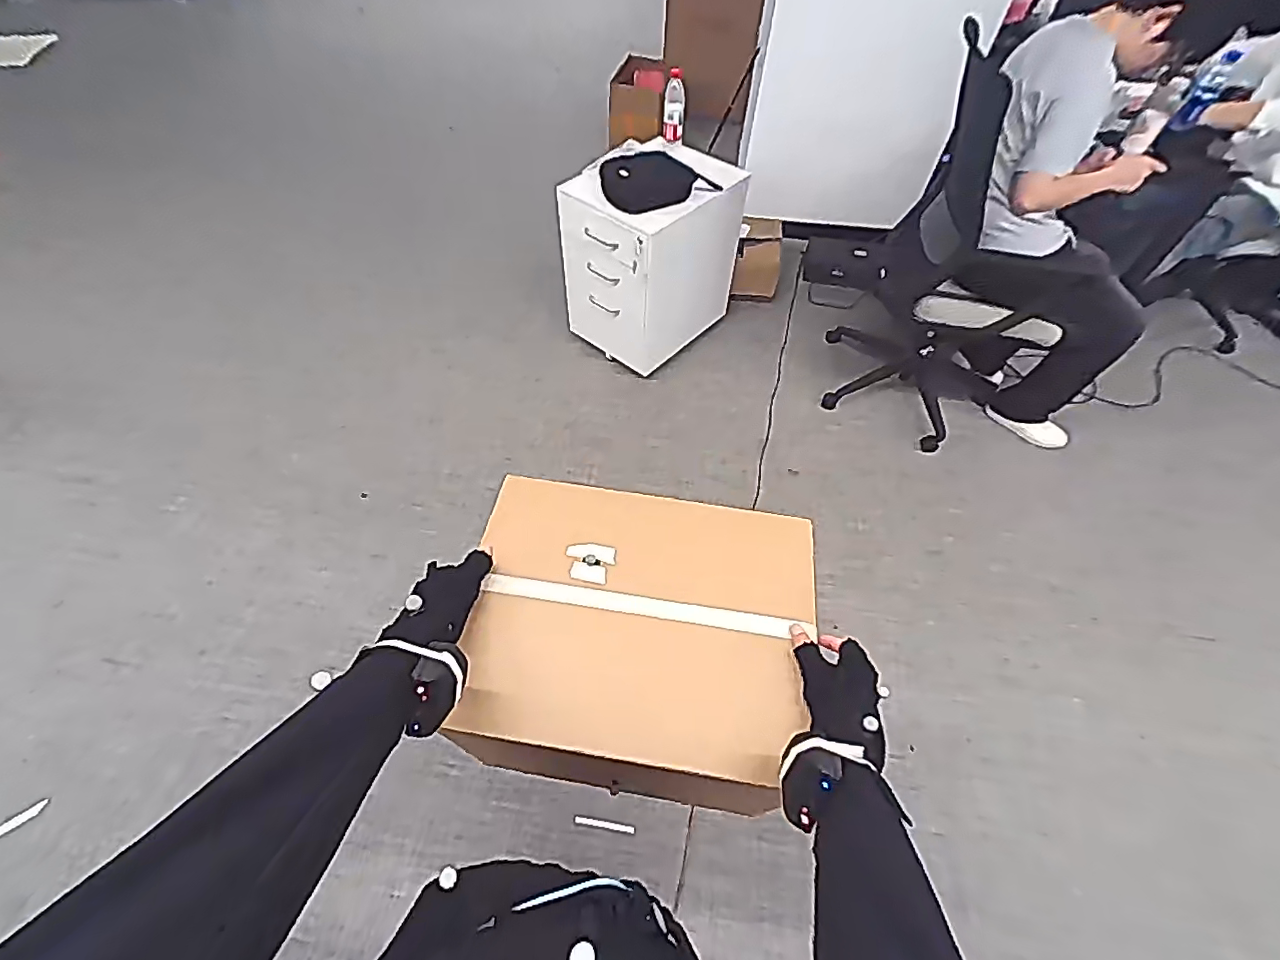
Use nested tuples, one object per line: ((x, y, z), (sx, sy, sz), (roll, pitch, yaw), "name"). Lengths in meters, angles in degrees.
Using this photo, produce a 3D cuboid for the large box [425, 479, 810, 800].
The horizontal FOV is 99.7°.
((-0.007, 0.231, 0.751), (0.408, 0.320, 0.320), (8, 54, 5), "large box")
